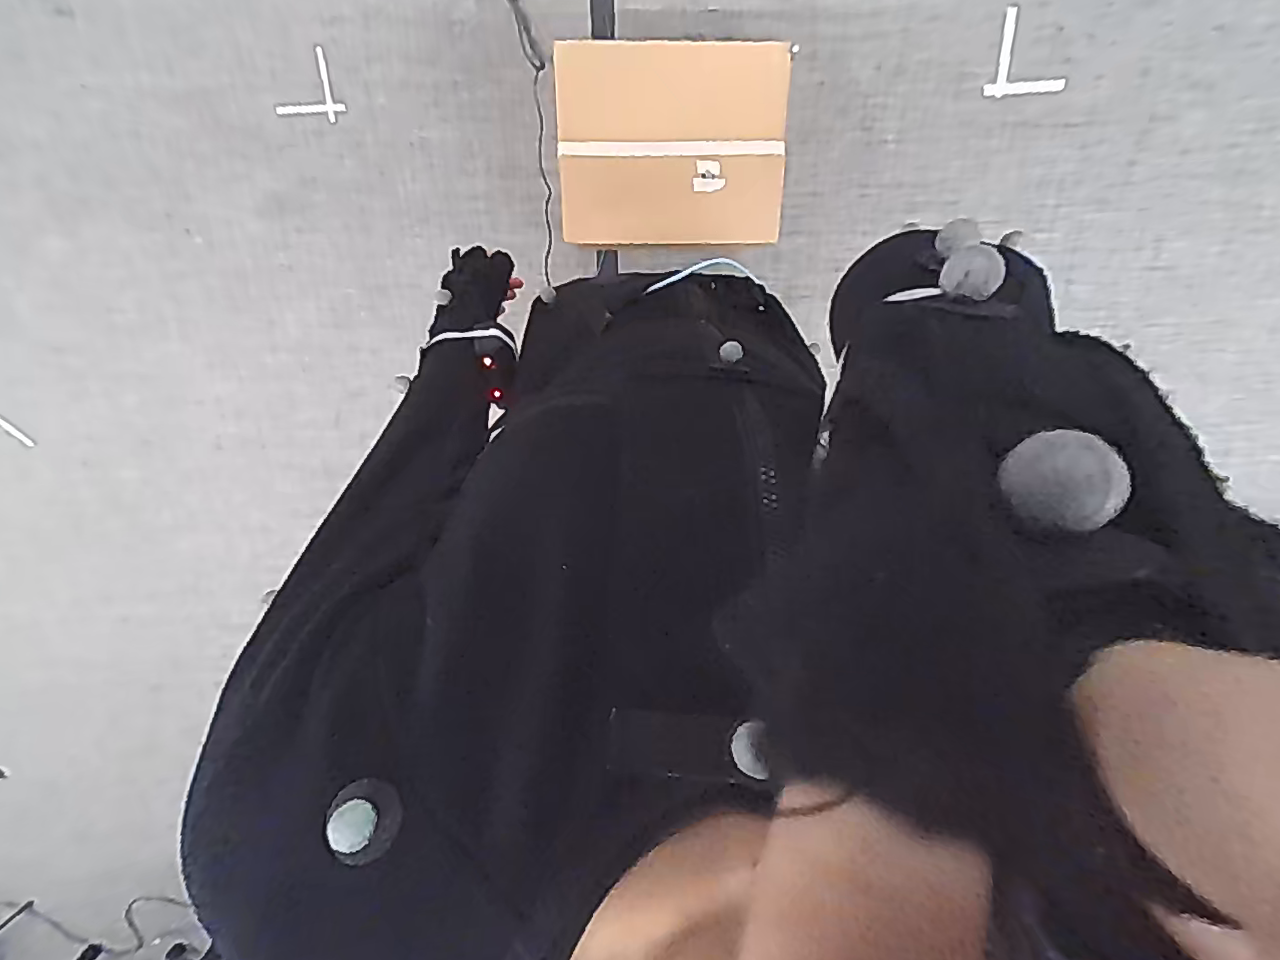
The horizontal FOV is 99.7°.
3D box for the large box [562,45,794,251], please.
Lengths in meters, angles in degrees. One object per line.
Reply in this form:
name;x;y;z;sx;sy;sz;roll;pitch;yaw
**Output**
large box;0.059;-0.645;1.109;0.408;0.320;0.320;0;112;-2
